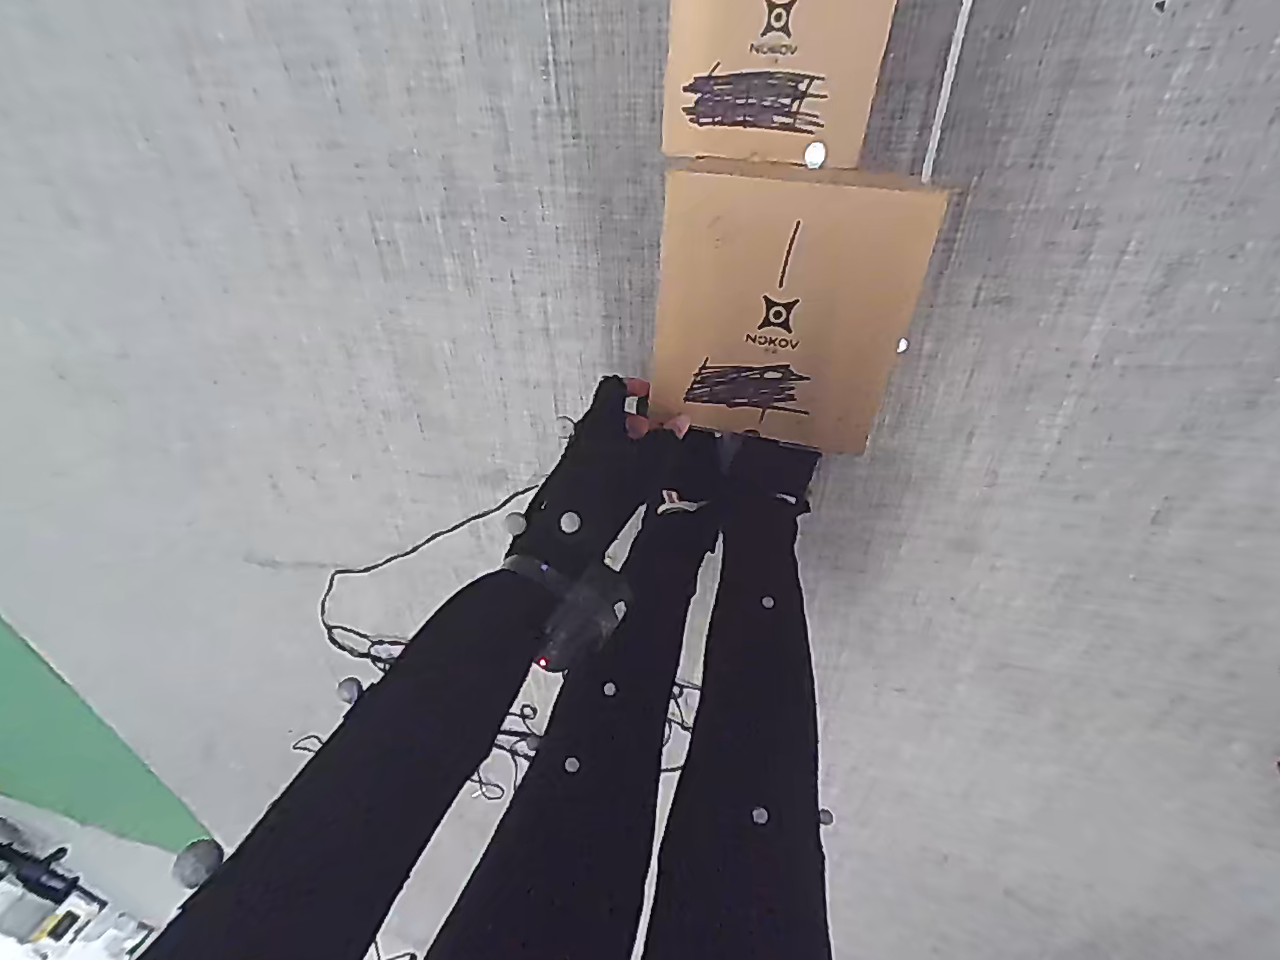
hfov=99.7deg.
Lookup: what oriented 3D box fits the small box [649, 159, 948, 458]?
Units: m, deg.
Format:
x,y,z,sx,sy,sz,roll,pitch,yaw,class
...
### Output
x,y,z,sx,sy,sz,roll,pitch,yaw,class
0.112,-0.145,0.430,0.168,0.176,0.179,11,124,10,small box
